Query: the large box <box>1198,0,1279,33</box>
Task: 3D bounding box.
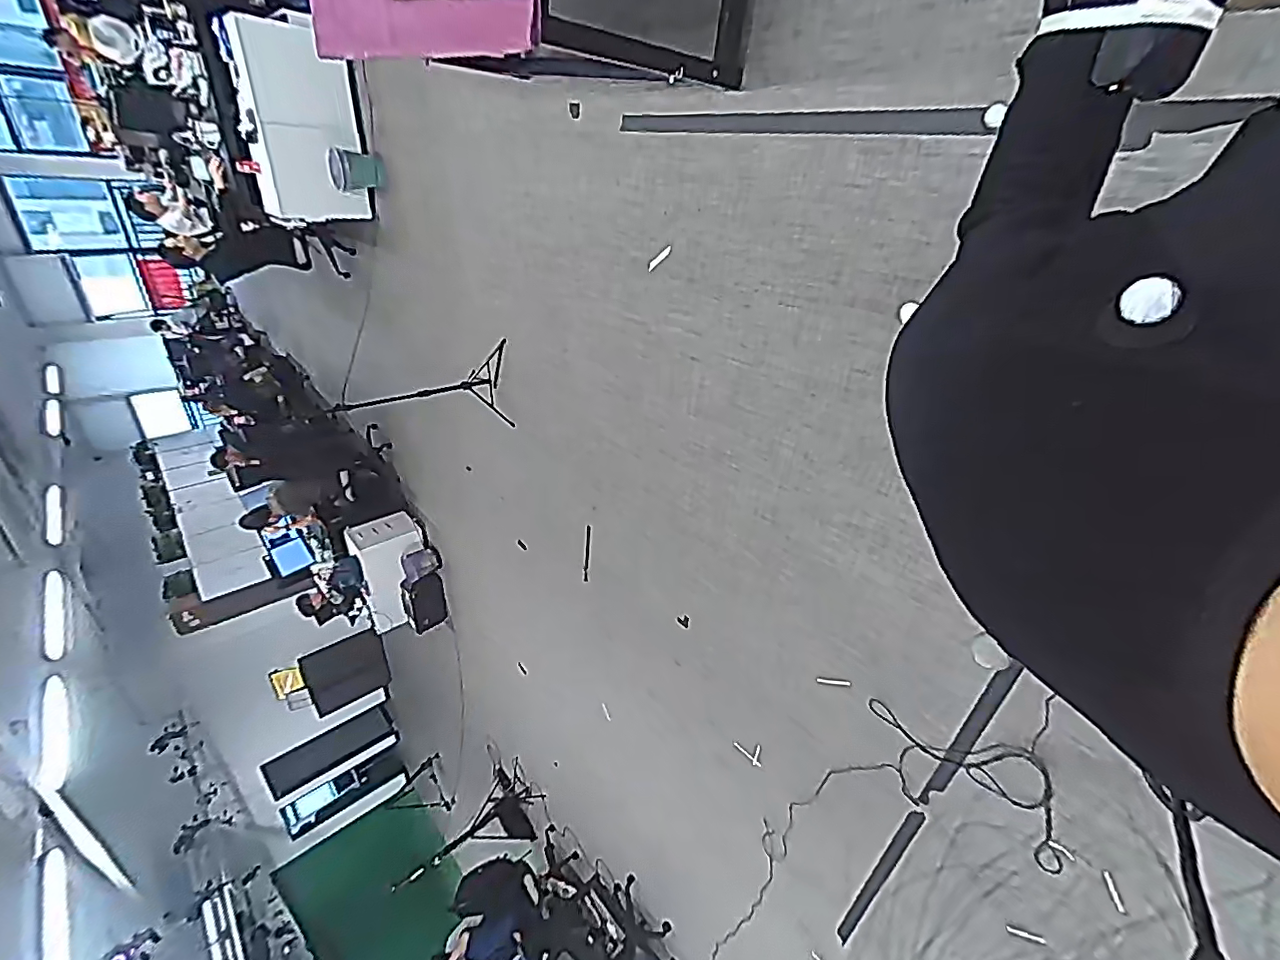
[{"bbox_3d":[0.560,-0.424,0.216,0.408,0.320,0.320,25,131,37],"label":"large box"}]
